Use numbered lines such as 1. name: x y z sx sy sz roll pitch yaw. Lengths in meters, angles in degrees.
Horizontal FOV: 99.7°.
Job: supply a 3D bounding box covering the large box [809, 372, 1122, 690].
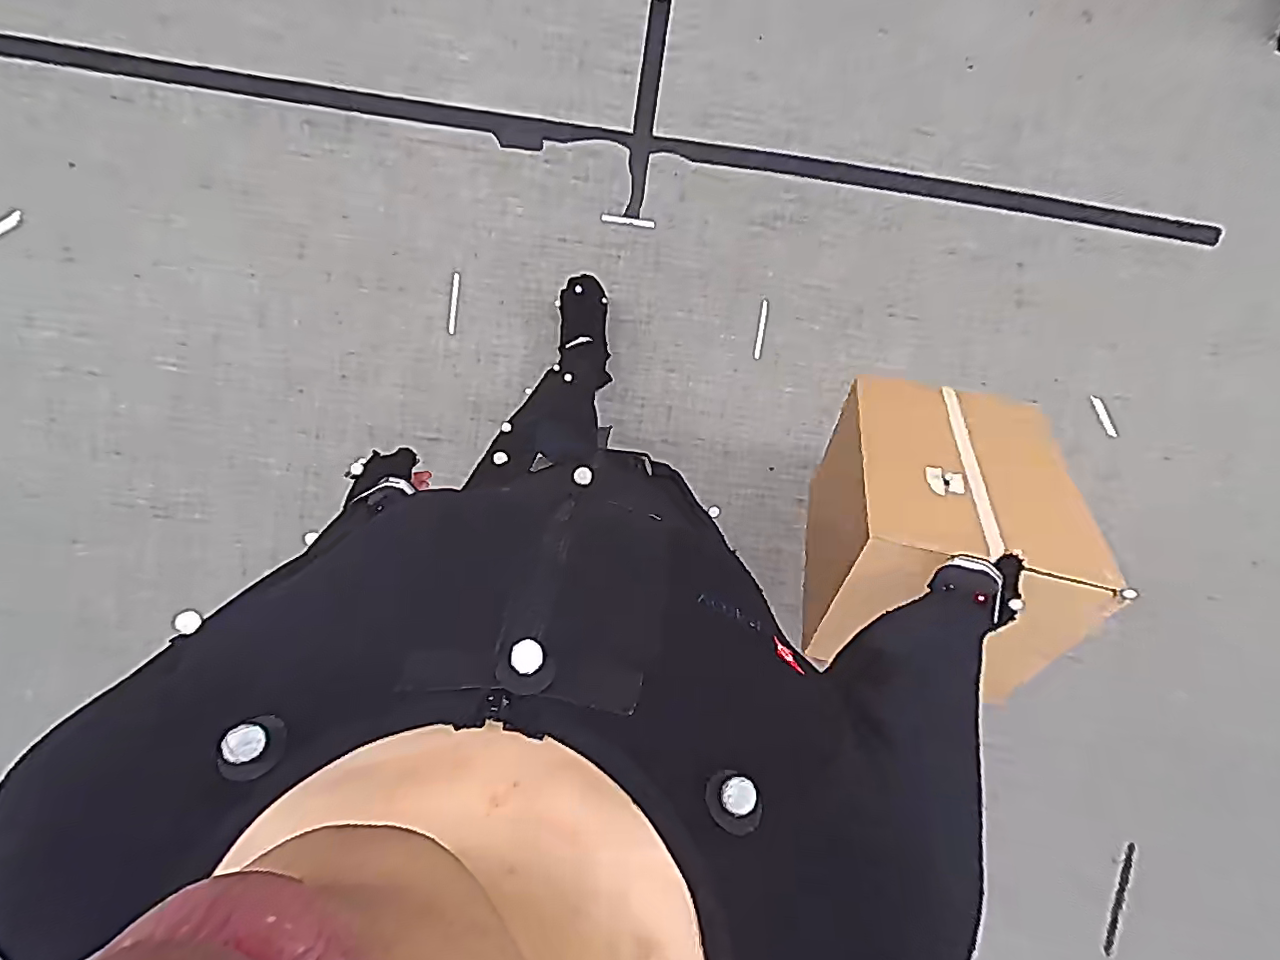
1. large box: 0.490 0.076 0.931 0.320 0.408 0.320 13 136 8
